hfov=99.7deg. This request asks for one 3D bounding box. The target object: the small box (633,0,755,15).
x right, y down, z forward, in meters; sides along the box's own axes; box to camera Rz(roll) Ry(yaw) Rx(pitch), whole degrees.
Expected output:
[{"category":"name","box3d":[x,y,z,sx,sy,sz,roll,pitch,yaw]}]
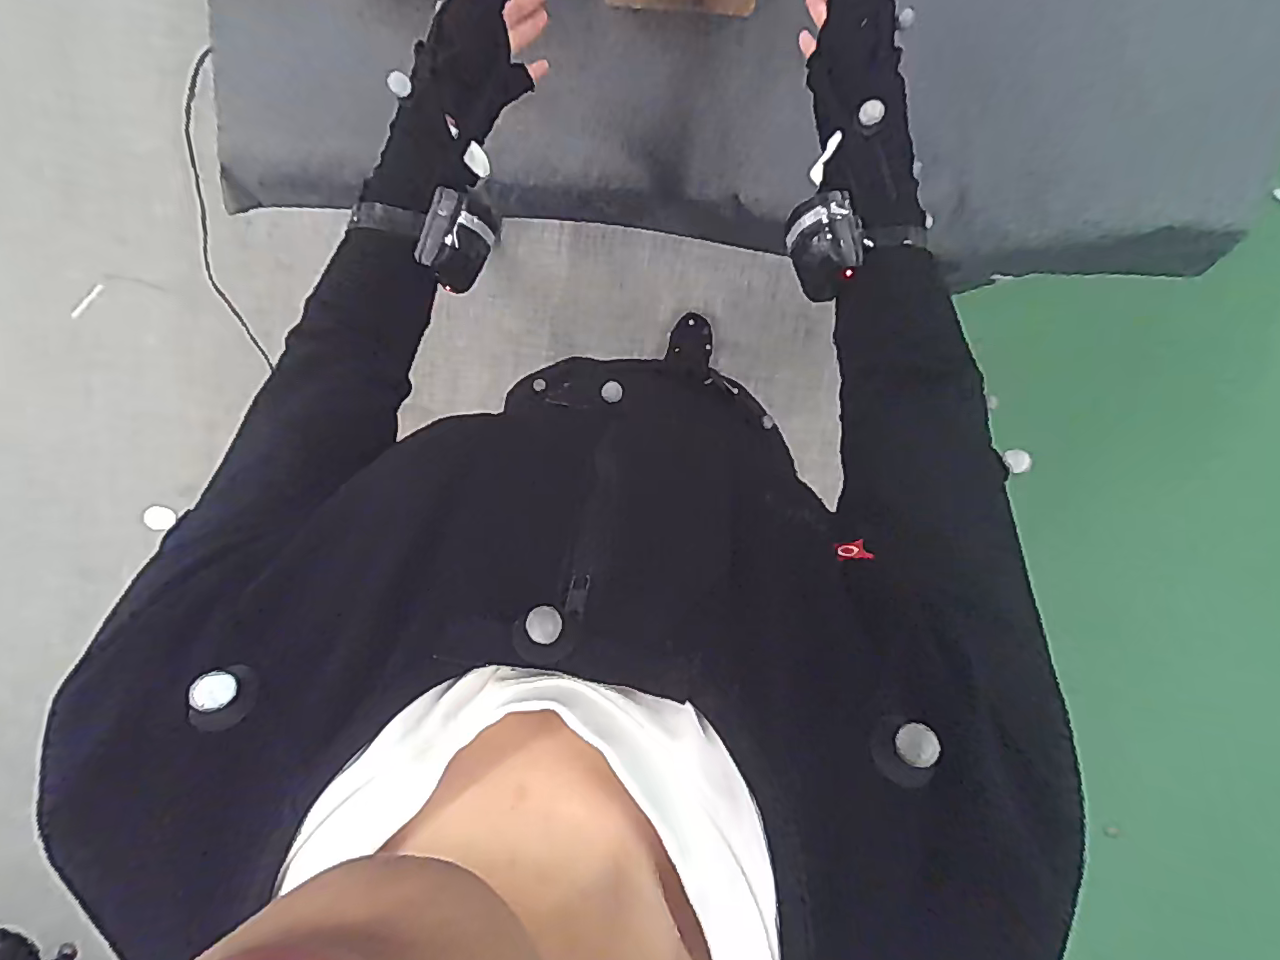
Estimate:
[{"category":"small box","box3d":[0.050,-0.590,0.511,0.168,0.176,0.179,7,103,3]}]
